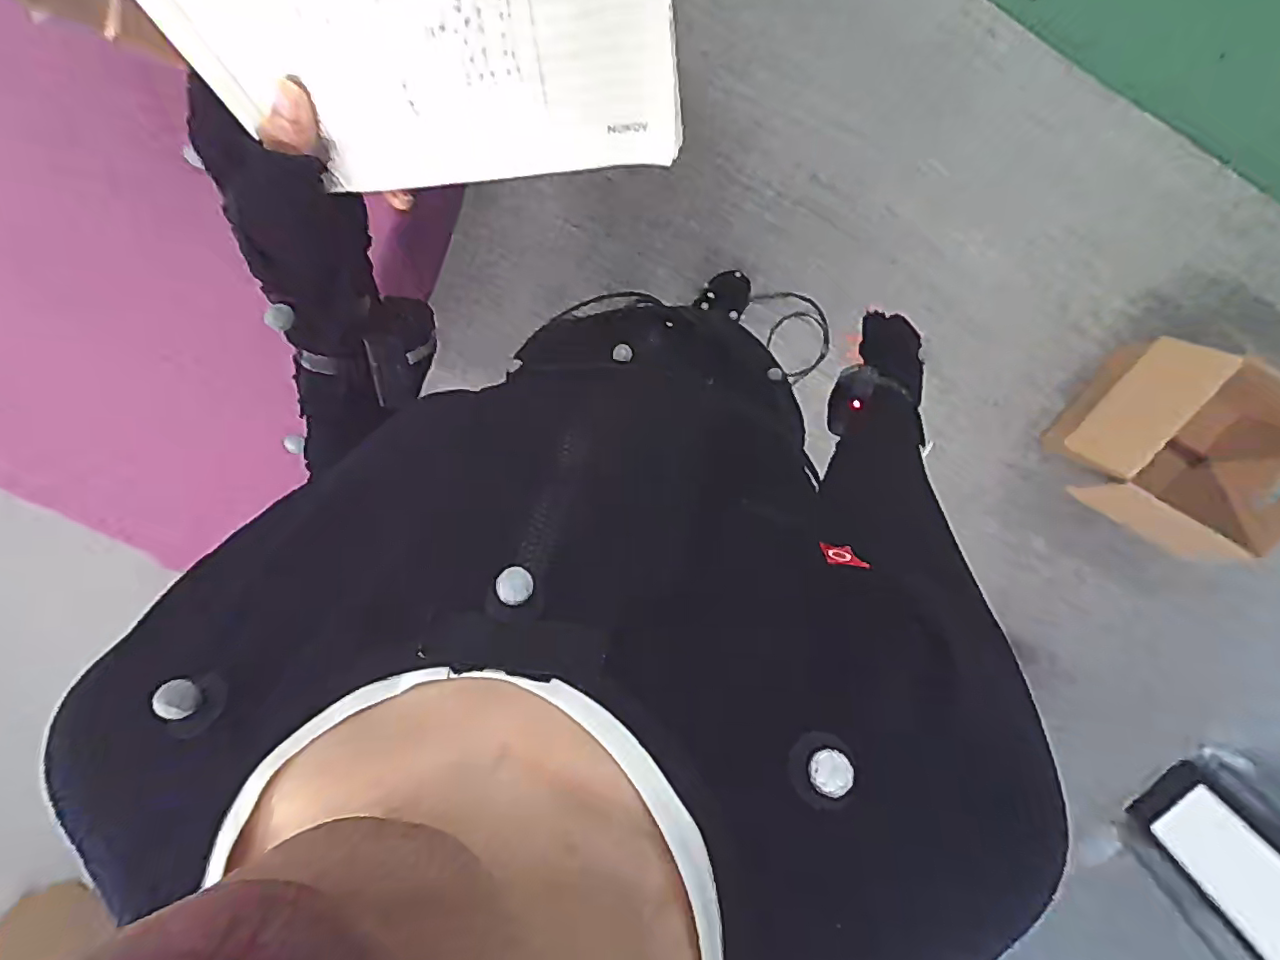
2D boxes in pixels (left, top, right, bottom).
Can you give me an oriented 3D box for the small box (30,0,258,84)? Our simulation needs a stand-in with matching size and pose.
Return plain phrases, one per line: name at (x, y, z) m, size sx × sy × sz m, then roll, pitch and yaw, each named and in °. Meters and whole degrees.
small box at (-0.471, -0.491, 0.477) m, size 0.179 × 0.176 × 0.168 m, roll 24°, pitch 110°, yaw -7°
